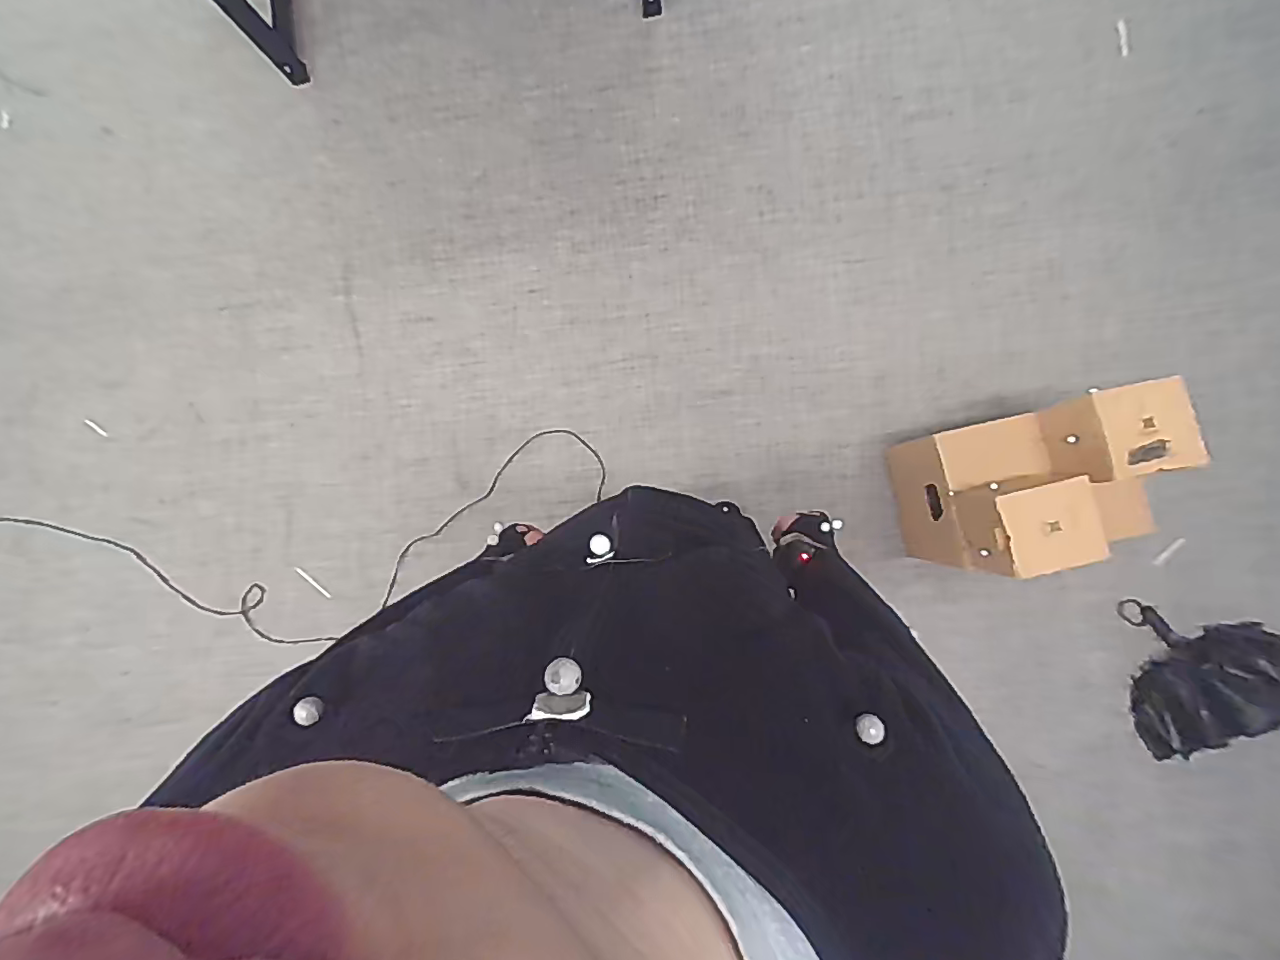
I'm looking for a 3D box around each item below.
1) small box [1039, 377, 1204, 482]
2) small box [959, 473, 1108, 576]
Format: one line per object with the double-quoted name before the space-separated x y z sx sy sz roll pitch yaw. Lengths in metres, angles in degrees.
"small box" 0.963 -0.091 1.099 0.168 0.176 0.179 -11 84 4
"small box" 0.787 0.087 1.108 0.179 0.176 0.168 -15 90 3
